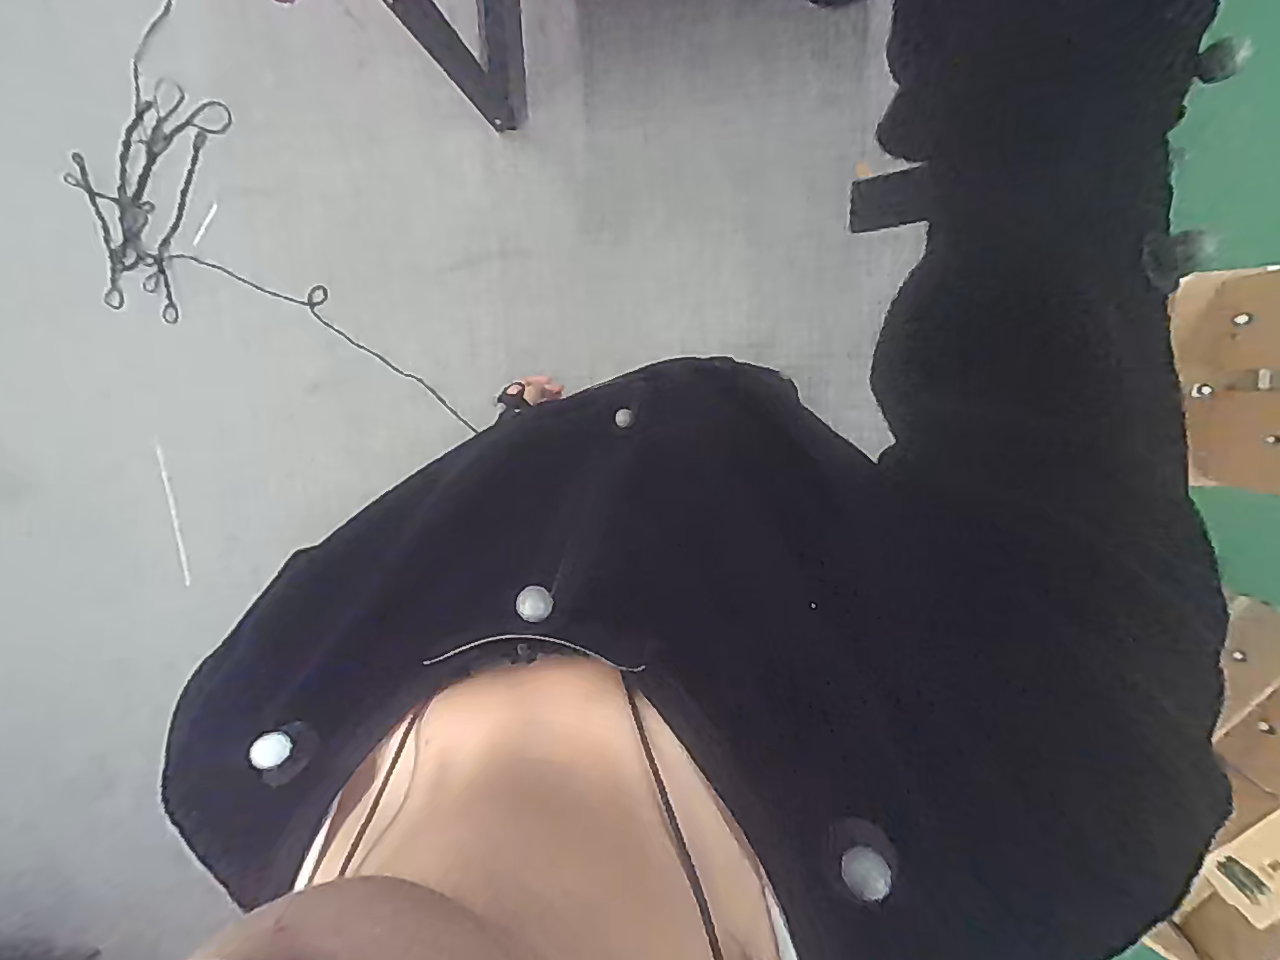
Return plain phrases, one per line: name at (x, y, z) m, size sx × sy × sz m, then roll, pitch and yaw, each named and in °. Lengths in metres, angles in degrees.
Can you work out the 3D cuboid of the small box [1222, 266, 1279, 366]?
small box at (1.146, -0.283, 0.898) m, size 0.179 × 0.176 × 0.168 m, roll -6°, pitch 99°, yaw 9°
